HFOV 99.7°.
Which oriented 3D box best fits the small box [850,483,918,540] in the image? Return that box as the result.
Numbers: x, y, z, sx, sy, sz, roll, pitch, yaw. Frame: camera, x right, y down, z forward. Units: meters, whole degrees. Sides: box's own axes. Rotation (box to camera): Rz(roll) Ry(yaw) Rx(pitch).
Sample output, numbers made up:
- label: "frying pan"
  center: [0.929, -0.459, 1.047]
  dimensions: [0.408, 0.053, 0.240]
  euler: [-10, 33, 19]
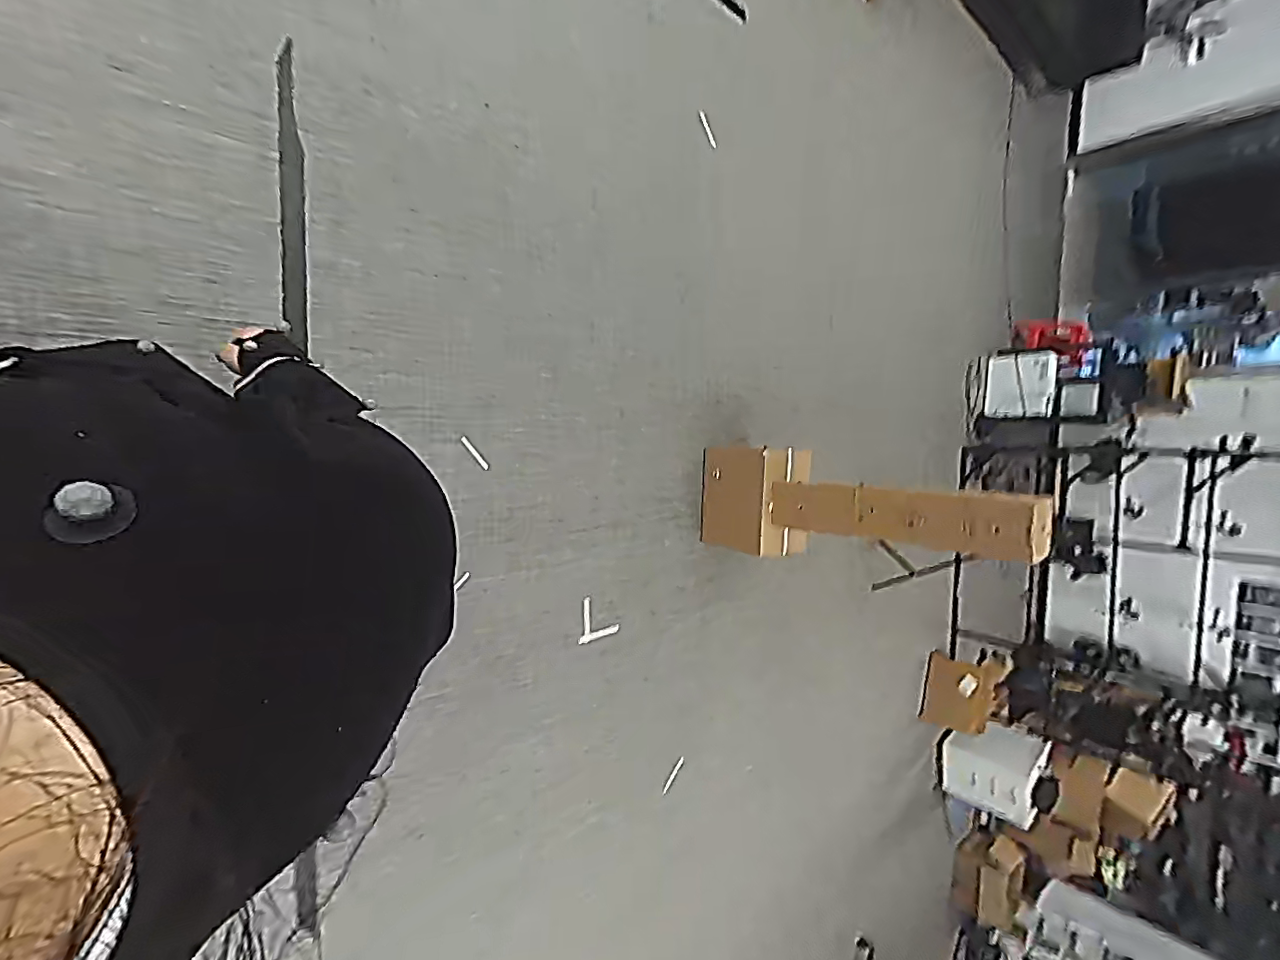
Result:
- label: "small box"
  center: [0.822, 0.099, 1.796]
  dimensions: [0.179, 0.176, 0.168]
  euler: [-3, 96, -39]

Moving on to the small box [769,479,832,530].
- label: "small box"
  center: [0.602, 0.086, 2.037]
  dimensions: [0.168, 0.176, 0.179]
  euler: [-4, 97, -39]

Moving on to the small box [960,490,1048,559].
- label: "small box"
  center: [1.041, 0.121, 1.552]
  dimensions: [0.179, 0.176, 0.168]
  euler: [-6, 98, -39]

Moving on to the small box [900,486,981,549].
- label: "small box"
  center: [0.931, 0.109, 1.673]
  dimensions: [0.179, 0.176, 0.168]
  euler: [-5, 97, -39]
